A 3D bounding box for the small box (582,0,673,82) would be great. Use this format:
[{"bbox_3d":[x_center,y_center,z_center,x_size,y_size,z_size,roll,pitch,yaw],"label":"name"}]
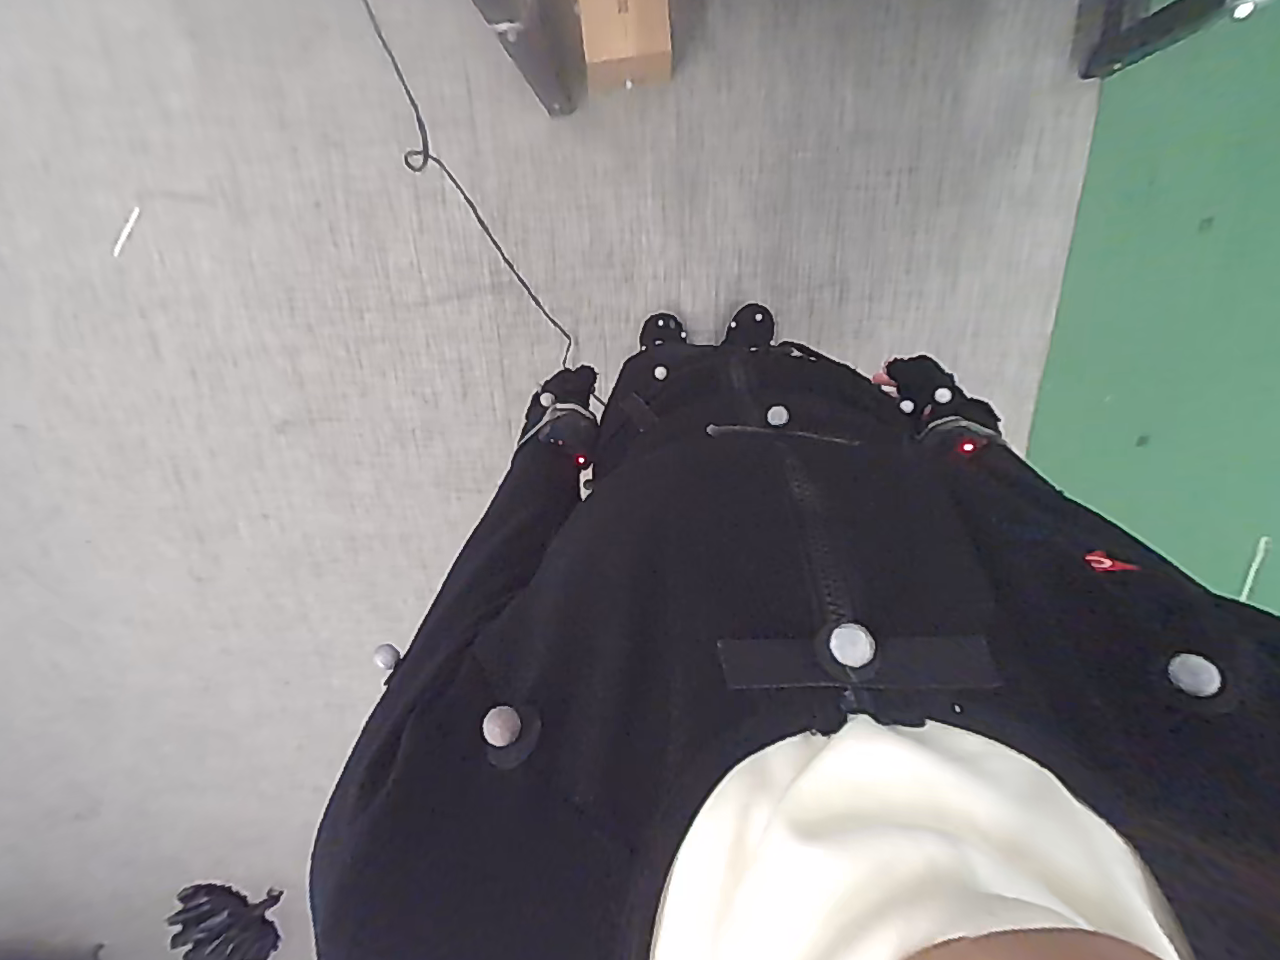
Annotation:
[{"bbox_3d":[-0.025,-0.918,1.055,0.168,0.176,0.179,-5,110,5],"label":"small box"}]
